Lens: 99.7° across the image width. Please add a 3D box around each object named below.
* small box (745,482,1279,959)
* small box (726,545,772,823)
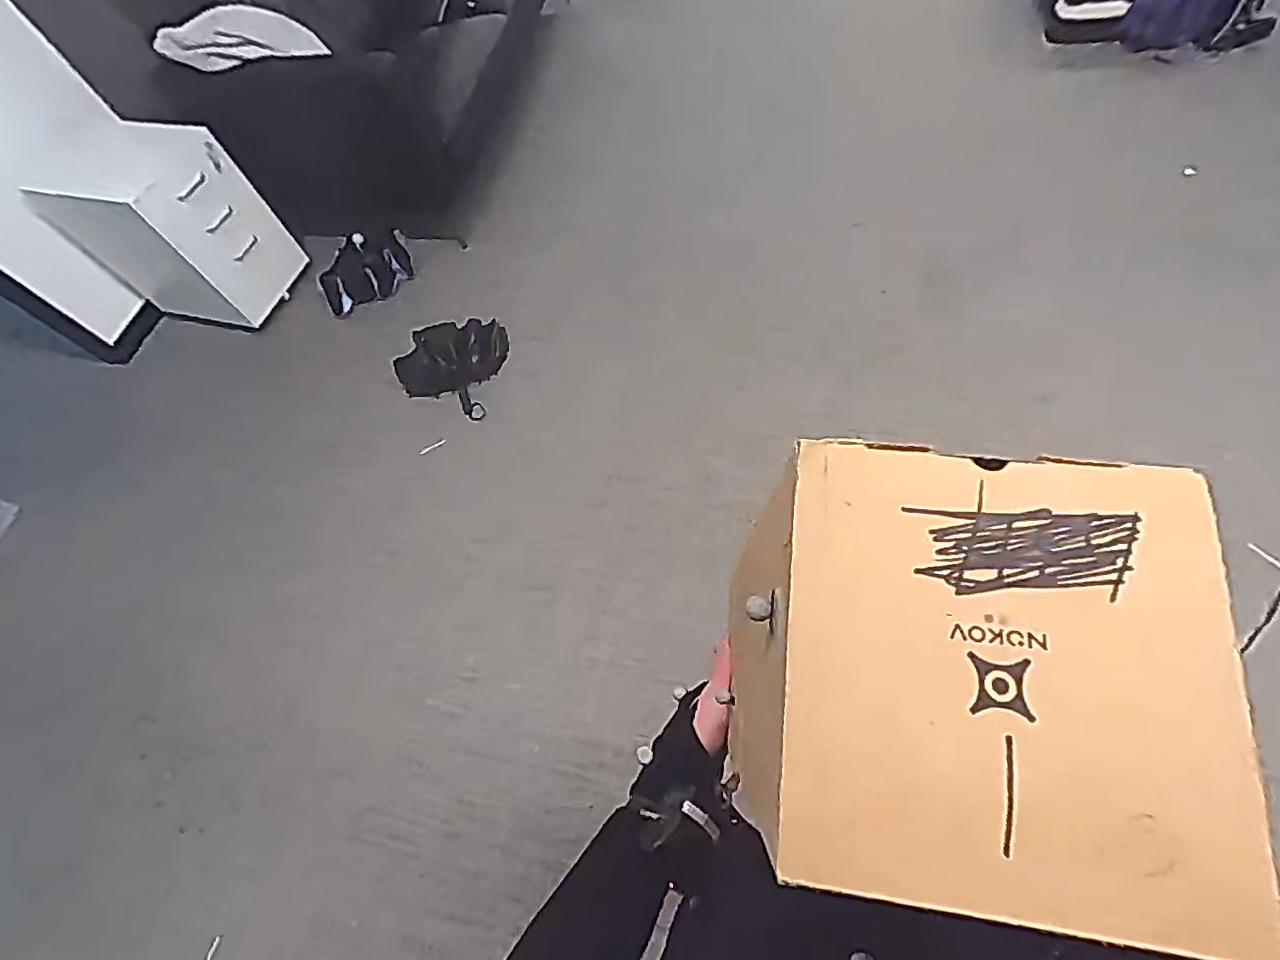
[{"bbox_3d":[0.145,0.113,0.265,0.168,0.176,0.179,5,76,7],"label":"small box"},{"bbox_3d":[0.158,0.157,0.423,0.168,0.176,0.179,5,74,7],"label":"small box"}]
